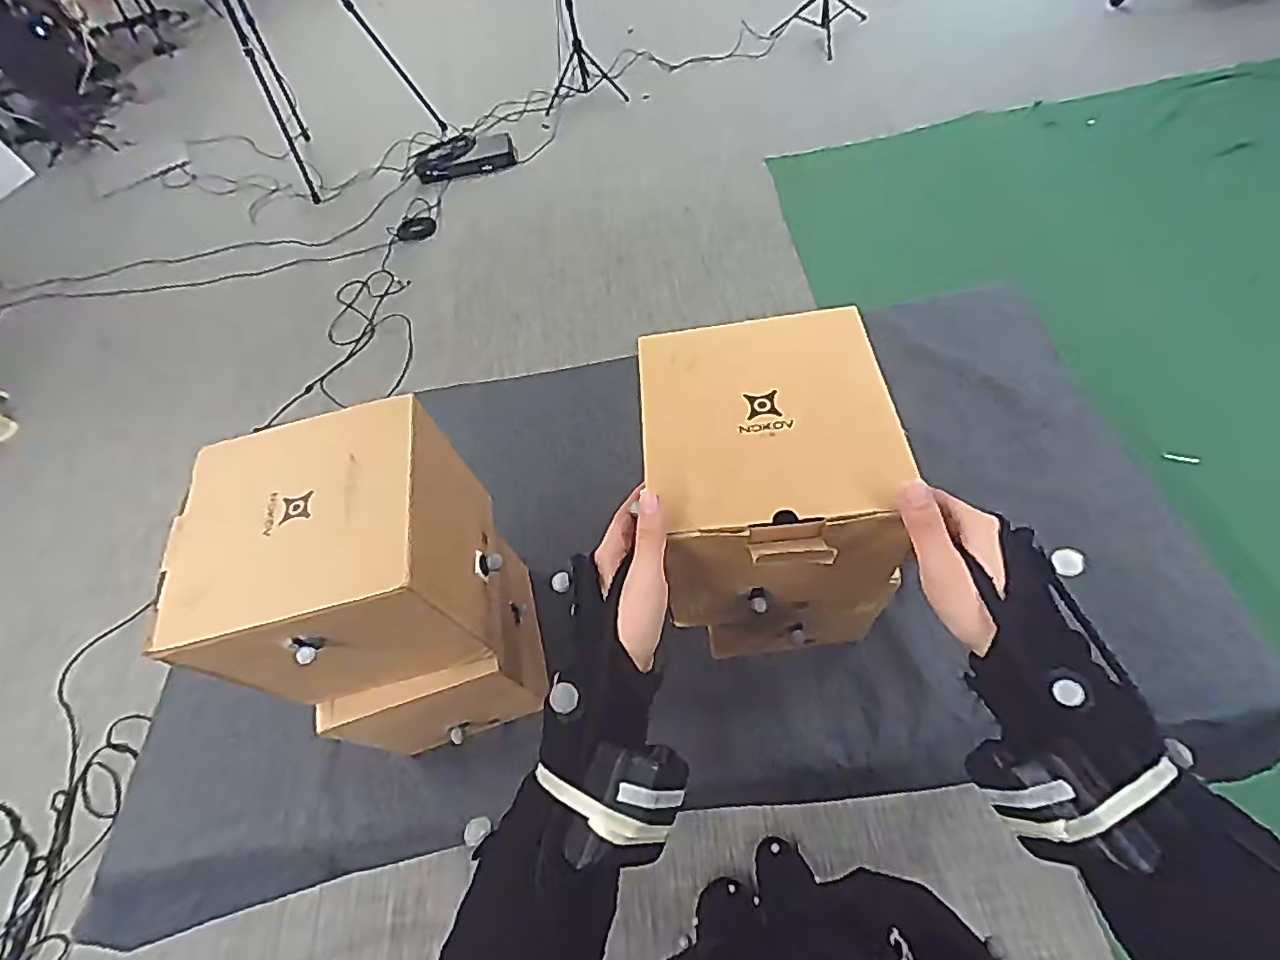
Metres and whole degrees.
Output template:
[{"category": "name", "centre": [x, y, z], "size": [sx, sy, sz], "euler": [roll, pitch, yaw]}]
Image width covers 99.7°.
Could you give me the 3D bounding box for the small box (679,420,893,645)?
[{"category": "small box", "centre": [0.140, 0.066, 0.573], "size": [0.168, 0.176, 0.179], "euler": [-10, 58, 4]}]

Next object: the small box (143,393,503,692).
[{"category": "small box", "centre": [-0.228, 0.061, 0.443], "size": [0.179, 0.176, 0.168], "euler": [-14, 58, 0]}]

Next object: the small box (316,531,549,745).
[{"category": "small box", "centre": [-0.208, 0.158, 0.573], "size": [0.168, 0.176, 0.179], "euler": [-18, 58, -2]}]
